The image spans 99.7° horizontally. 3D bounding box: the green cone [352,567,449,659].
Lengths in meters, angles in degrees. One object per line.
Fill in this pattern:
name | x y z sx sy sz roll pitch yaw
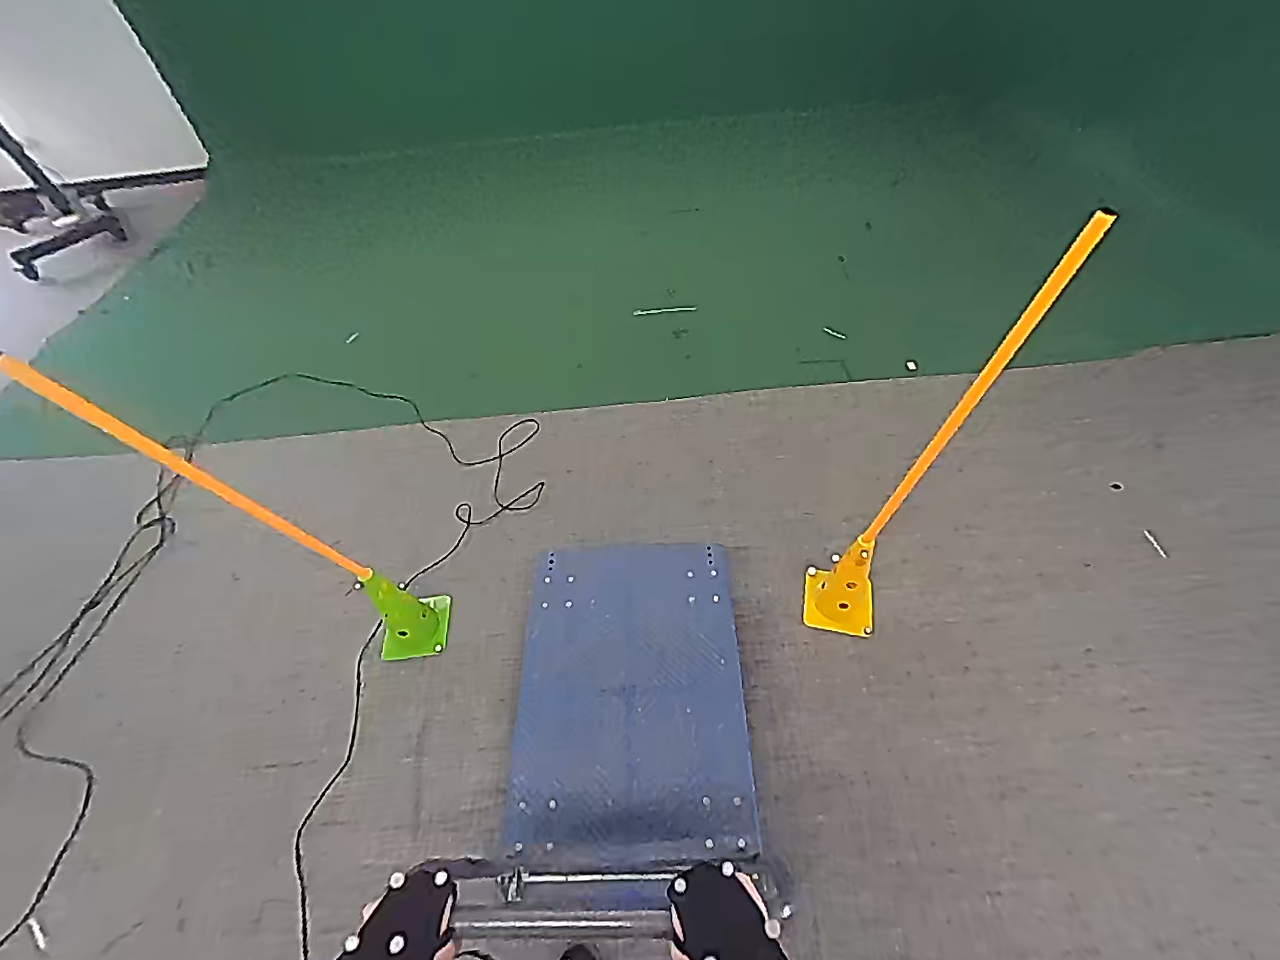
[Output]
green cone | -0.734 0.357 1.598 0.202 0.368 0.200 -9 51 1
